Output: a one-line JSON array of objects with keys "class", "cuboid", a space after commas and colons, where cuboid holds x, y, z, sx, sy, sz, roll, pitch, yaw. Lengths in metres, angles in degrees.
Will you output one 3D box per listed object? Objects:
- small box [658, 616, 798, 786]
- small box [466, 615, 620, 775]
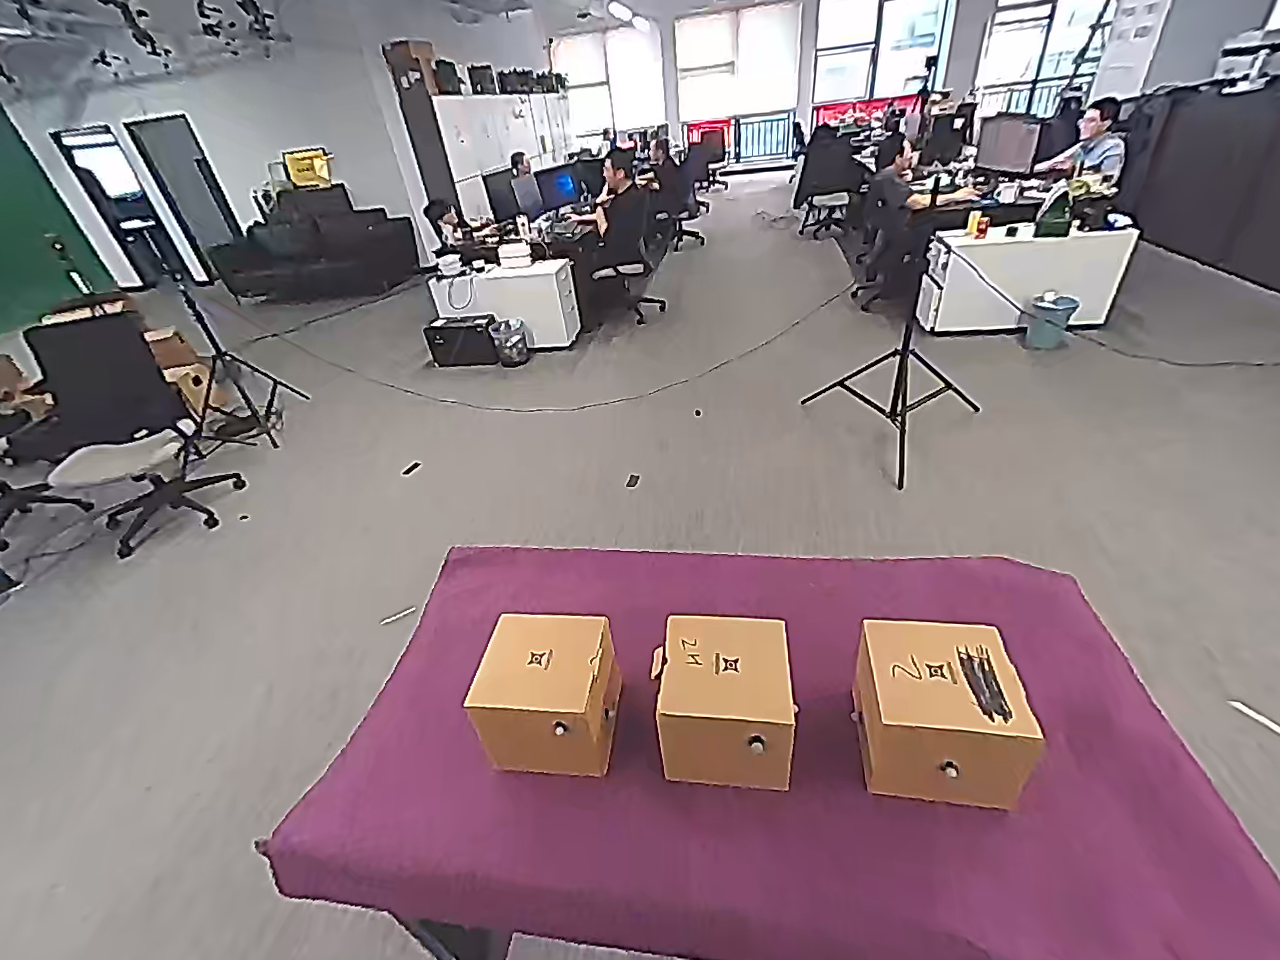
[{"class": "small box", "cuboid": [0.128, 0.320, 0.787, 0.179, 0.176, 0.168, -1, 34, 10]}, {"class": "small box", "cuboid": [-0.135, 0.328, 0.831, 0.179, 0.176, 0.168, -1, 35, 8]}]
